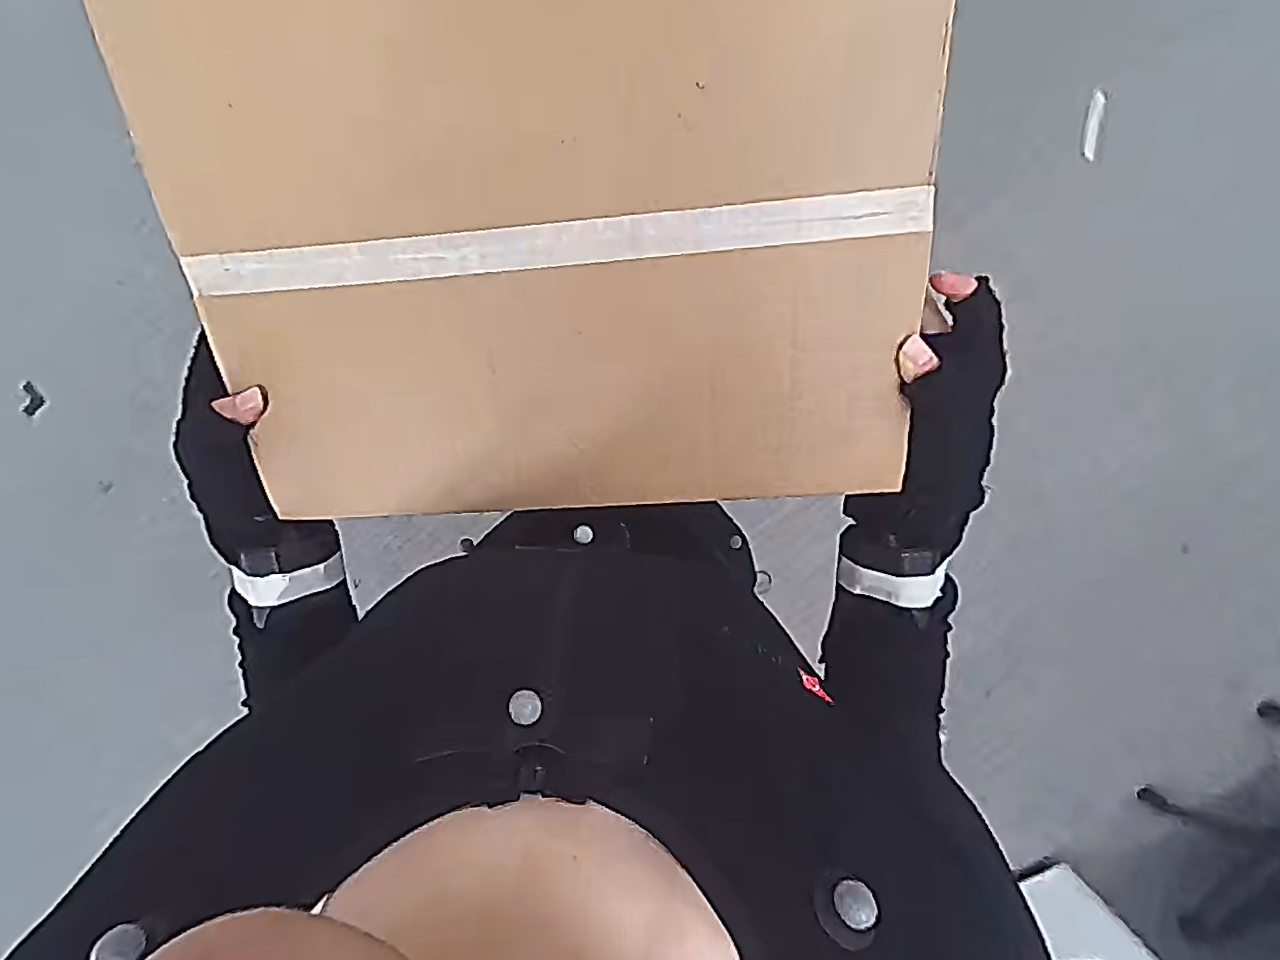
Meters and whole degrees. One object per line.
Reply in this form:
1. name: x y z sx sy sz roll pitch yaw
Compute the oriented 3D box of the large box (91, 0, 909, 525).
1. large box: -0.051 -0.183 0.440 0.408 0.320 0.320 -4 112 5
